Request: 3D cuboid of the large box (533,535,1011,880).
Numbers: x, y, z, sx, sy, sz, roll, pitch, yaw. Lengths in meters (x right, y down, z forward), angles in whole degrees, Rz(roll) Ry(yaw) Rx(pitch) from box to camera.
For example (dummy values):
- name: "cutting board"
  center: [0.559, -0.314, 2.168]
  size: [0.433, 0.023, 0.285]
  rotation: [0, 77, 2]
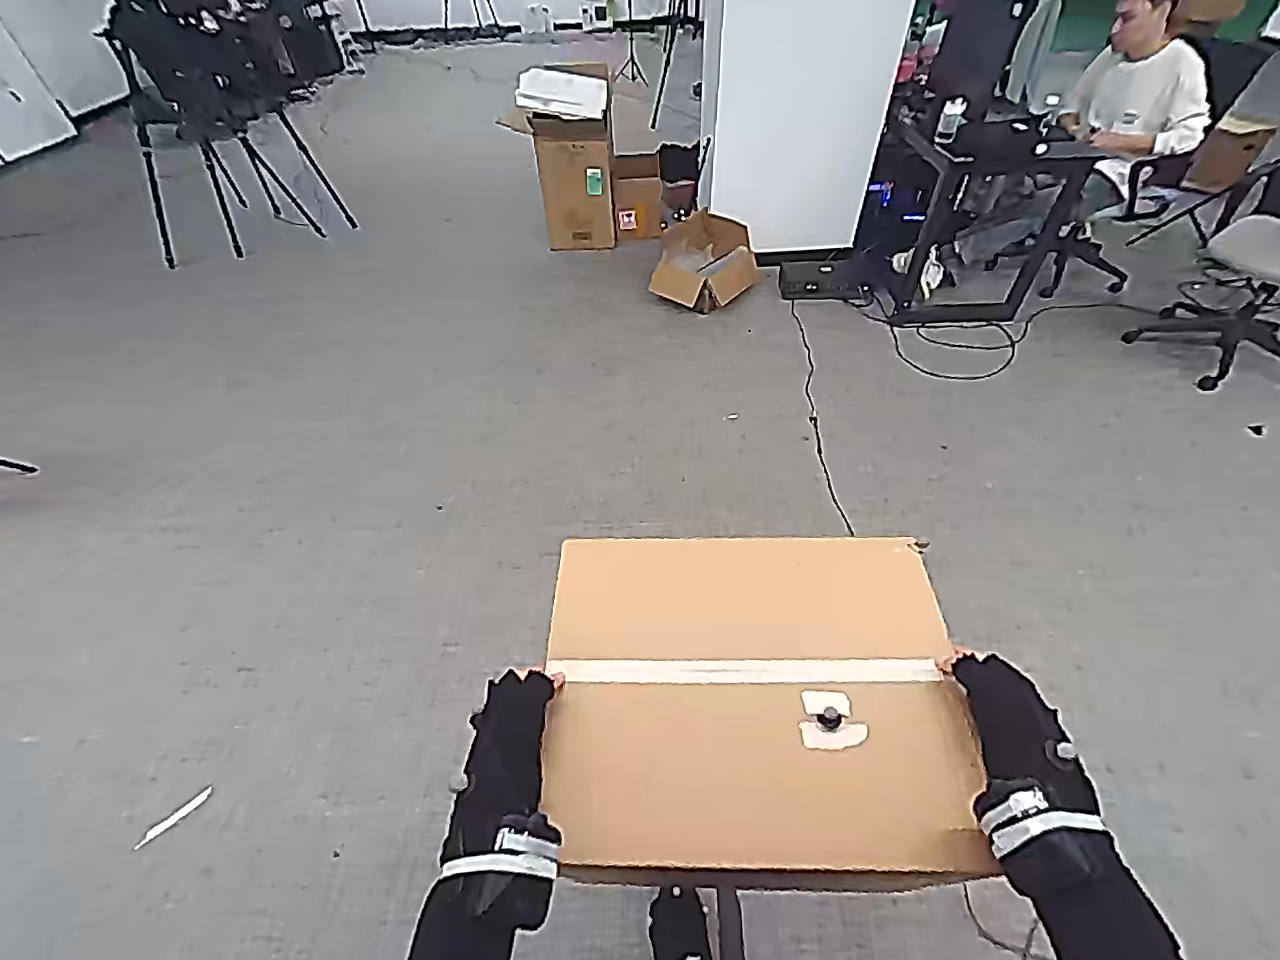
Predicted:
- name: "large box"
  center: [0.112, 0.280, 0.653]
  size: [0.408, 0.320, 0.320]
  rotation: [-1, 51, 3]
